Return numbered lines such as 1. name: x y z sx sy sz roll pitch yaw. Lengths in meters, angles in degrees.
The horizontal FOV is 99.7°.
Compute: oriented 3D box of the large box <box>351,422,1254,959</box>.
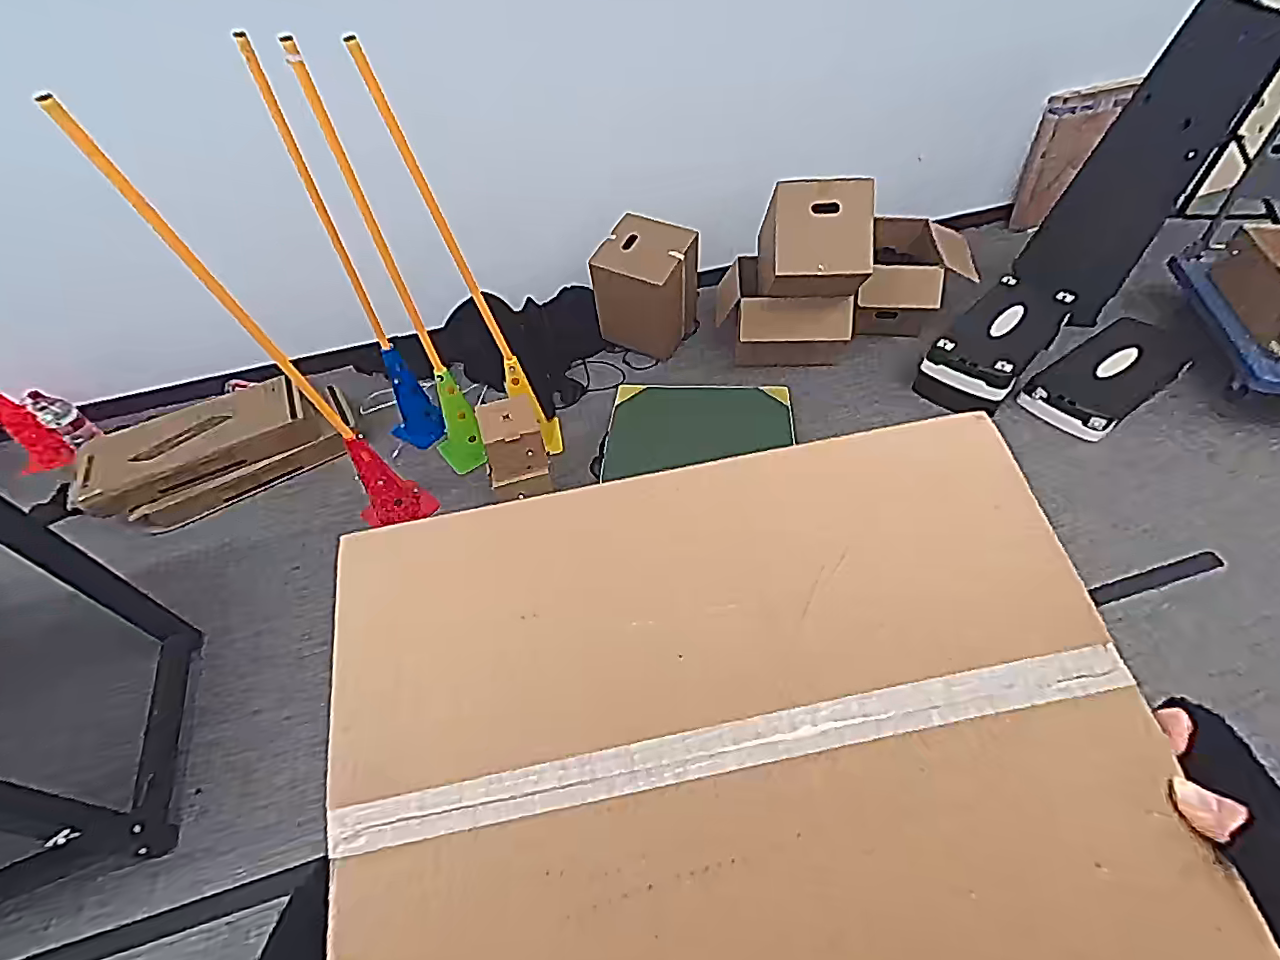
1. large box: 0.056 0.199 0.417 0.408 0.320 0.320 -11 67 -1
